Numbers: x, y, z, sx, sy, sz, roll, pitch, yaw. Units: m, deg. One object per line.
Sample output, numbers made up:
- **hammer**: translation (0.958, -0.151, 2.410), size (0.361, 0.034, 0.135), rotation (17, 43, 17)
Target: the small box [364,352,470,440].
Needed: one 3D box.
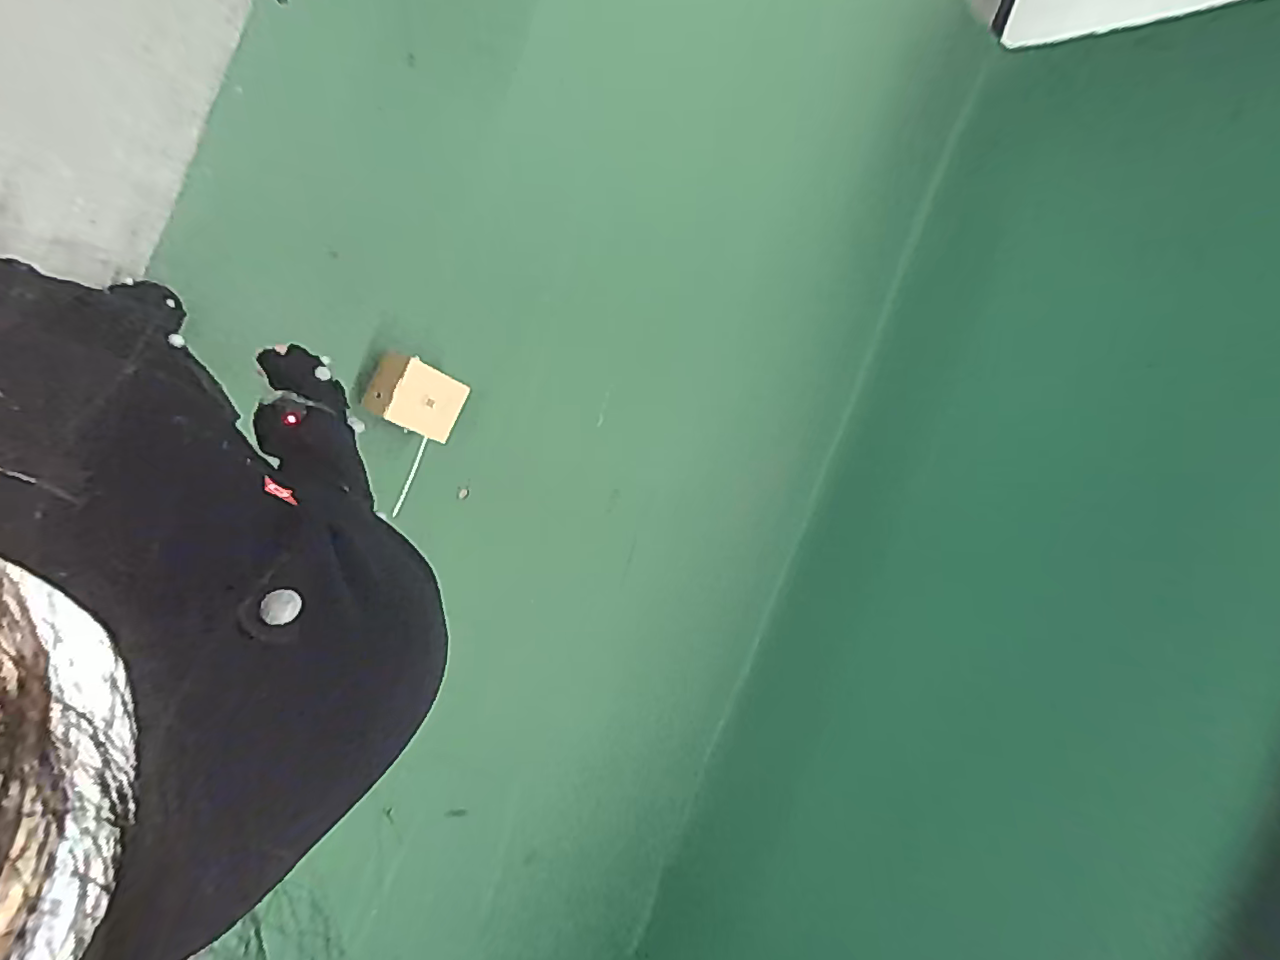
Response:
- **small box**: translation (-0.592, -0.225, 1.424), size (0.179, 0.176, 0.168), rotation (28, 86, -47)
